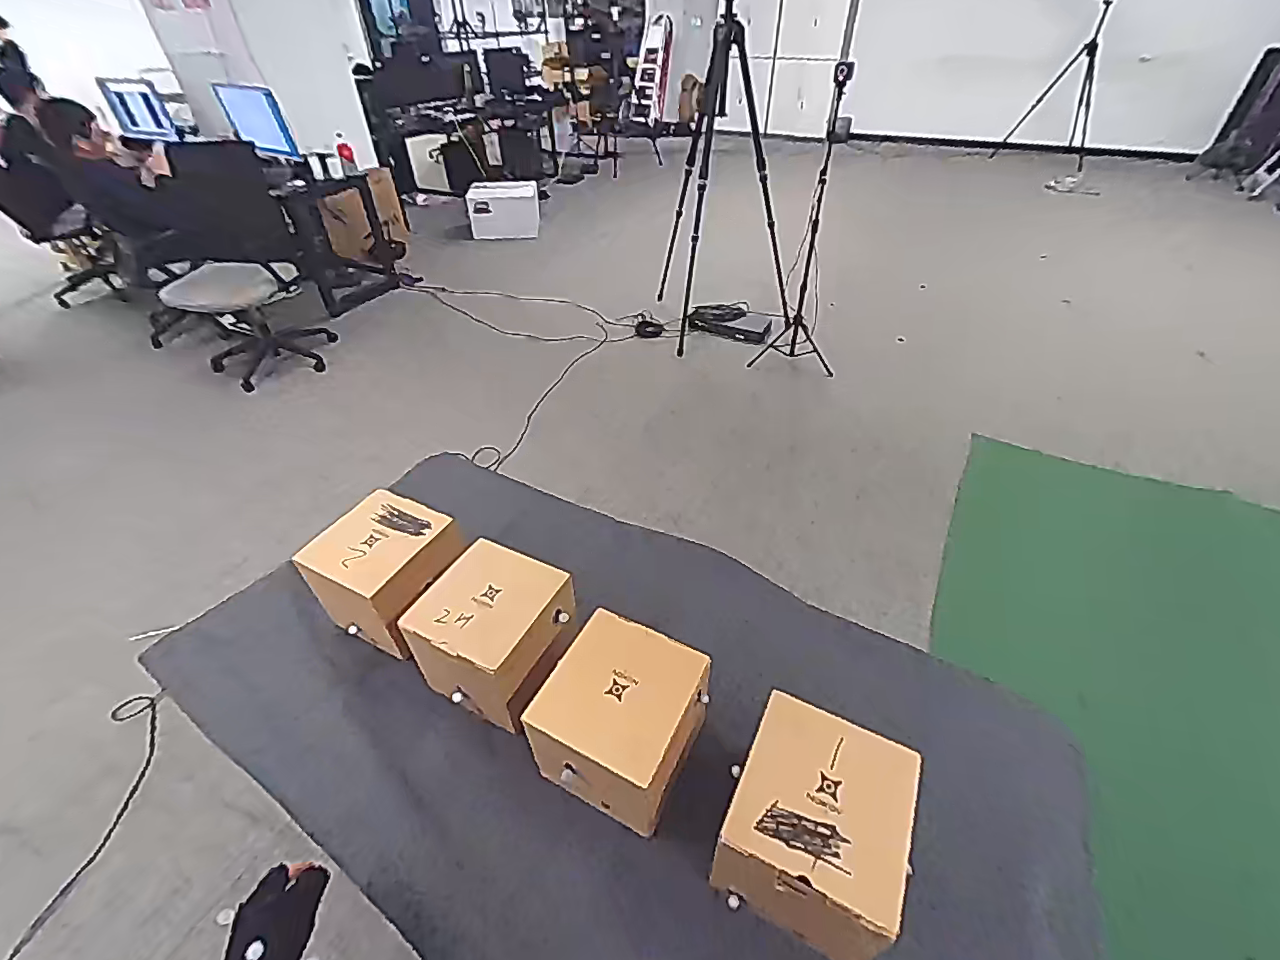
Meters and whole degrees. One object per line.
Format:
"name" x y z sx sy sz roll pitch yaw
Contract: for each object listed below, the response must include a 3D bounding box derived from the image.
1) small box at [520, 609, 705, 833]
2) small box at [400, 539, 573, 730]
"small box" -0.026 0.308 0.695 0.168 0.176 0.179 19 44 21
"small box" -0.210 0.224 0.793 0.168 0.176 0.179 18 44 21
